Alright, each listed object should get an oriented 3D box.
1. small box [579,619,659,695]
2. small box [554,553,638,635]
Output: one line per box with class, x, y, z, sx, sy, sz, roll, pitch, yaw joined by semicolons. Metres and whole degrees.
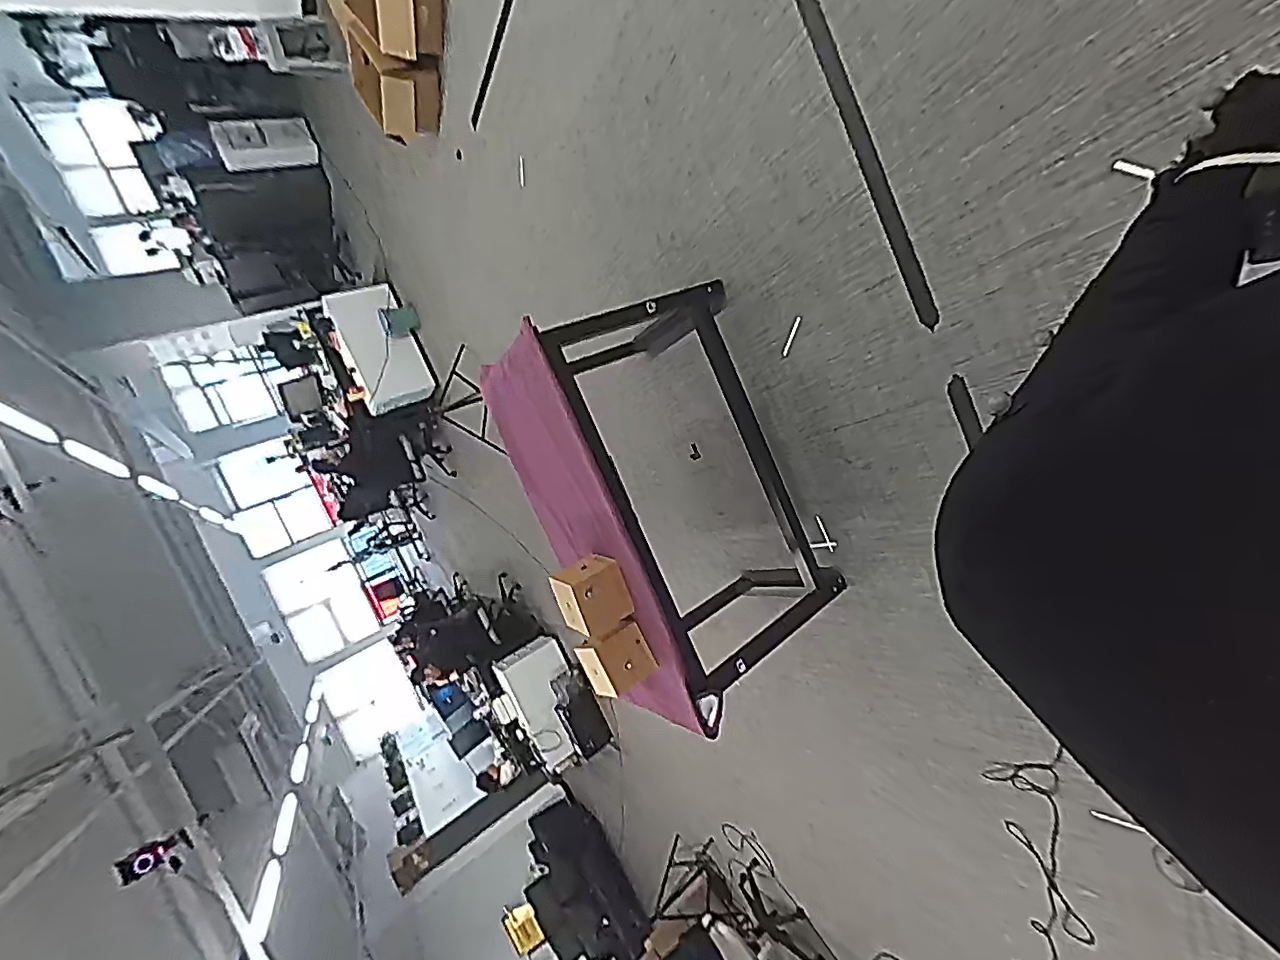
small box;-0.061;0.555;1.709;0.168;0.176;0.179;62;150;3
small box;-0.135;0.340;1.658;0.168;0.176;0.179;1;114;58
